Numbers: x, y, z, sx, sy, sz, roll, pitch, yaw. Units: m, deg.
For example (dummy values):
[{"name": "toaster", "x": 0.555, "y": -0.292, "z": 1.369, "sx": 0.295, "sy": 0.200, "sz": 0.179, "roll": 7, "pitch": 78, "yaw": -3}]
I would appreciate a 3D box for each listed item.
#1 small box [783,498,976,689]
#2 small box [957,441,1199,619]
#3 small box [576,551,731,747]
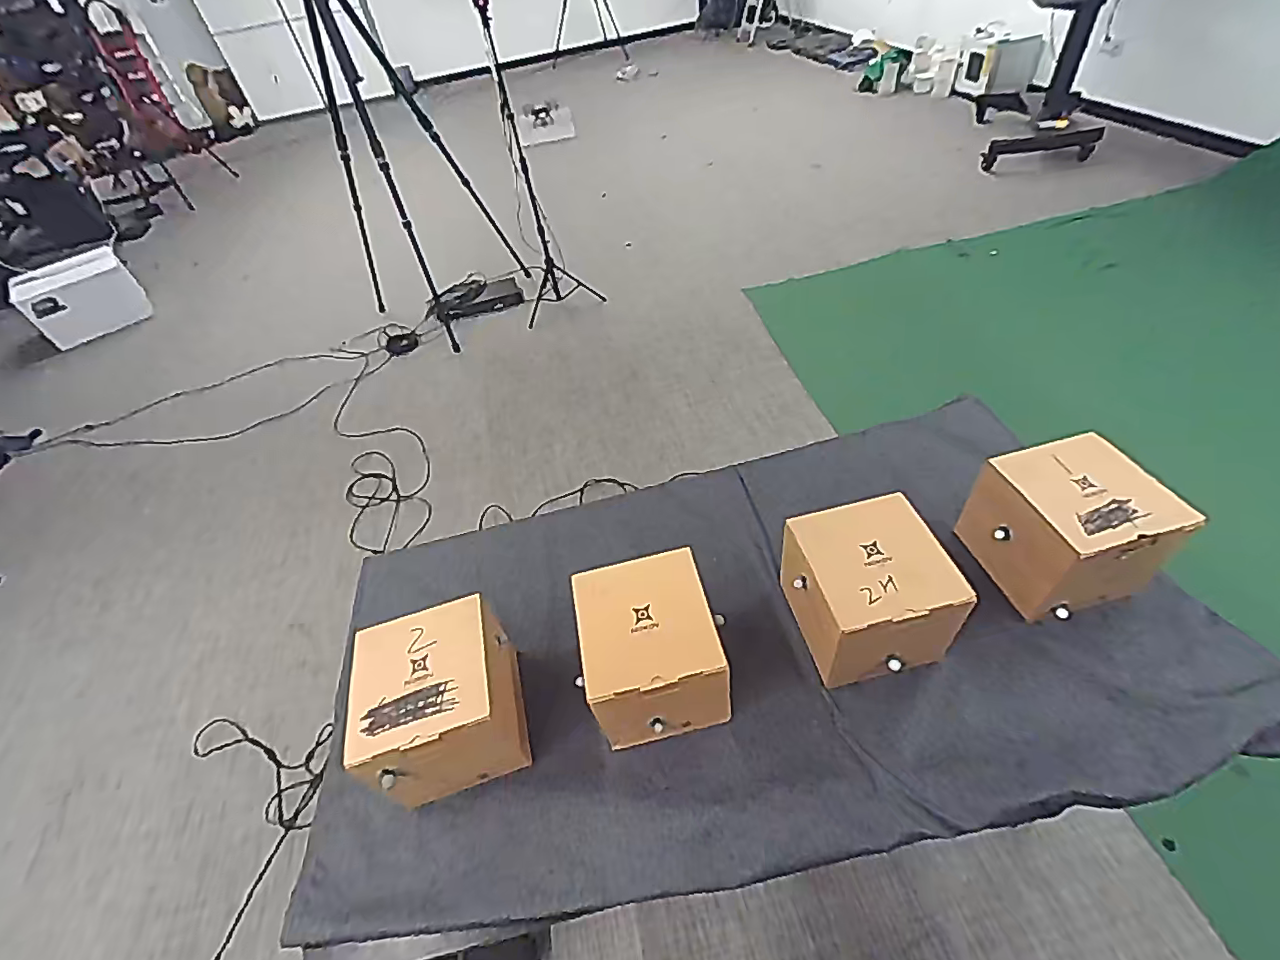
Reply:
[{"name": "small box", "x": 0.305, "y": 0.156, "z": 0.739, "sx": 0.168, "sy": 0.176, "sz": 0.179, "roll": -13, "pitch": 47, "yaw": -2}, {"name": "small box", "x": 0.593, "y": 0.077, "z": 0.764, "sx": 0.168, "sy": 0.176, "sz": 0.179, "roll": -13, "pitch": 46, "yaw": -3}, {"name": "small box", "x": 0.016, "y": 0.226, "z": 0.723, "sx": 0.168, "sy": 0.176, "sz": 0.179, "roll": -13, "pitch": 47, "yaw": -3}]
